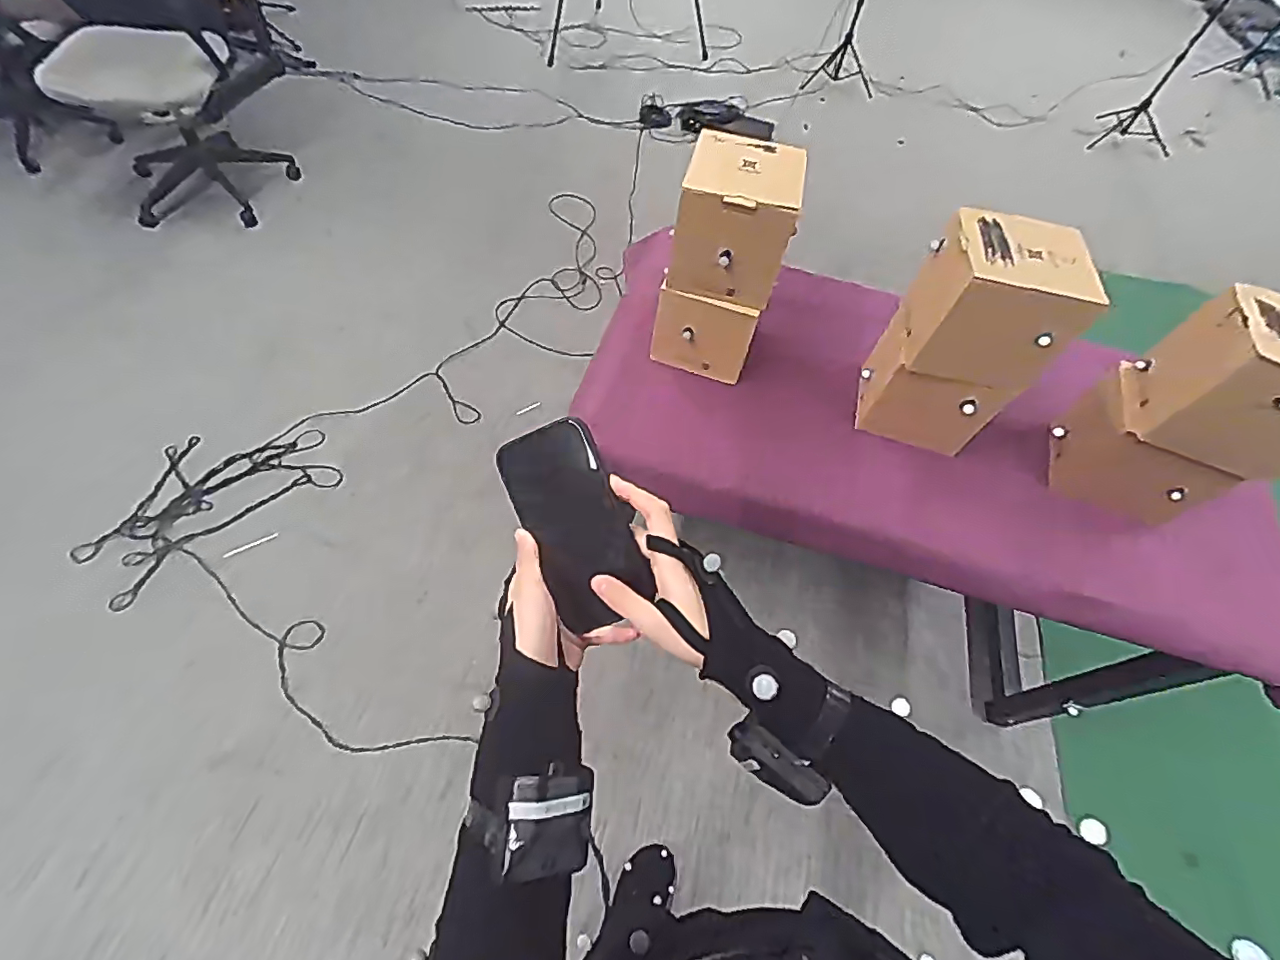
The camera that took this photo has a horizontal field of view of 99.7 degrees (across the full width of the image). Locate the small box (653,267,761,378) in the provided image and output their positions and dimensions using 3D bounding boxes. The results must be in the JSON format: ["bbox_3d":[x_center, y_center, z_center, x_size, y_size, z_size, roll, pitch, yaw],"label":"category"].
[{"bbox_3d":[0.125,-0.312,0.971,0.168,0.176,0.179,18,58,6],"label":"small box"}]

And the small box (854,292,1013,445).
[{"bbox_3d":[0.490,-0.182,0.918,0.179,0.176,0.168,17,57,6],"label":"small box"}]

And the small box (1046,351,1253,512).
[{"bbox_3d":[0.809,-0.071,0.876,0.179,0.176,0.168,23,58,10],"label":"small box"}]

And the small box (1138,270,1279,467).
[{"bbox_3d":[0.825,-0.144,0.730,0.179,0.176,0.168,22,58,9],"label":"small box"}]

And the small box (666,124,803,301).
[{"bbox_3d":[0.139,-0.407,0.837,0.168,0.176,0.179,14,58,3],"label":"small box"}]
